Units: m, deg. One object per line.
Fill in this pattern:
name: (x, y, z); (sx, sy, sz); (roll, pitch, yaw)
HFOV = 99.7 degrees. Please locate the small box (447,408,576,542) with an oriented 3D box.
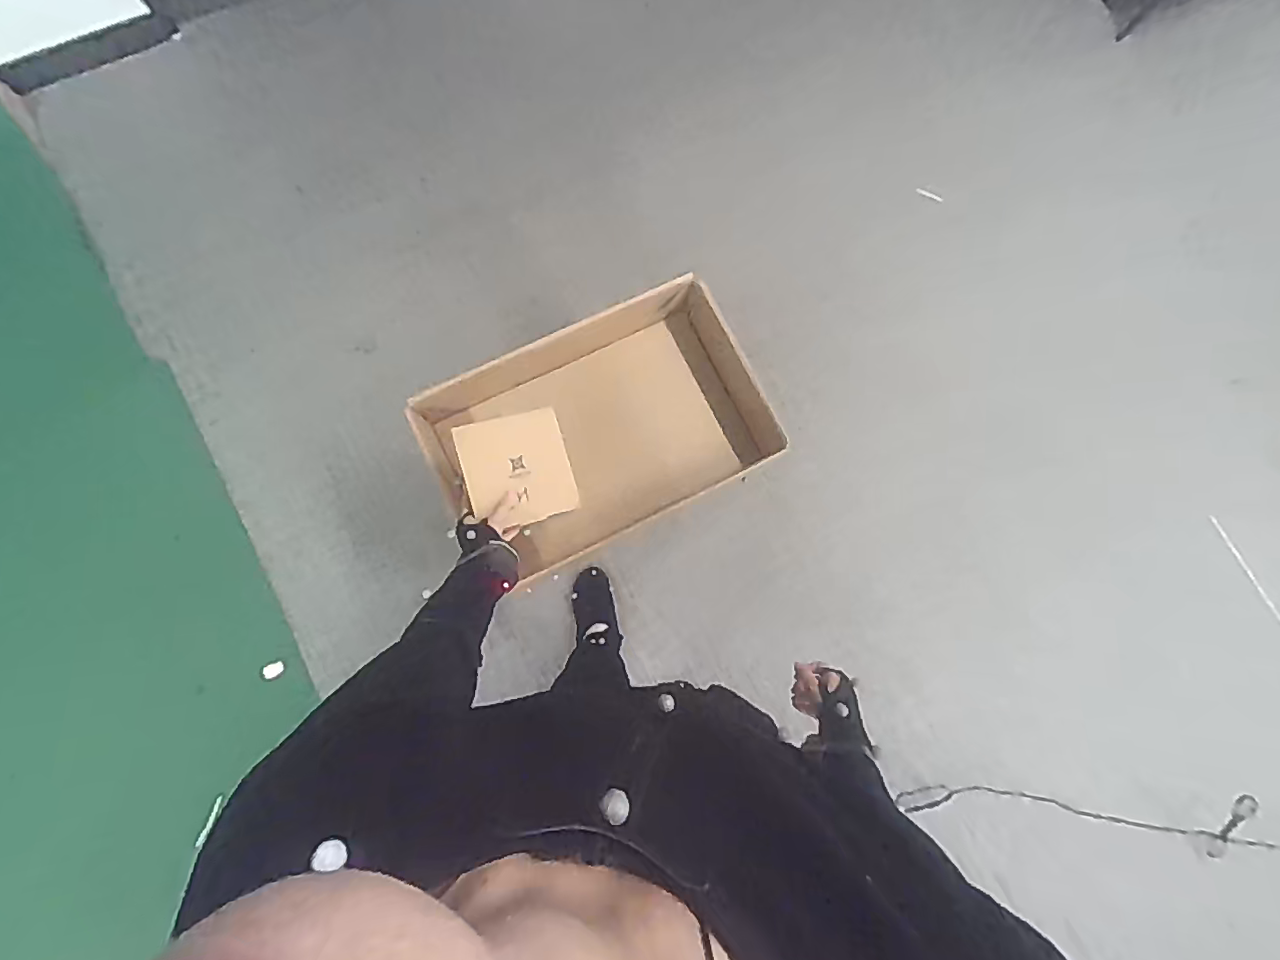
small box: (-0.223, -0.002, 0.914); (0.168, 0.176, 0.179); (-15, 86, -20)
